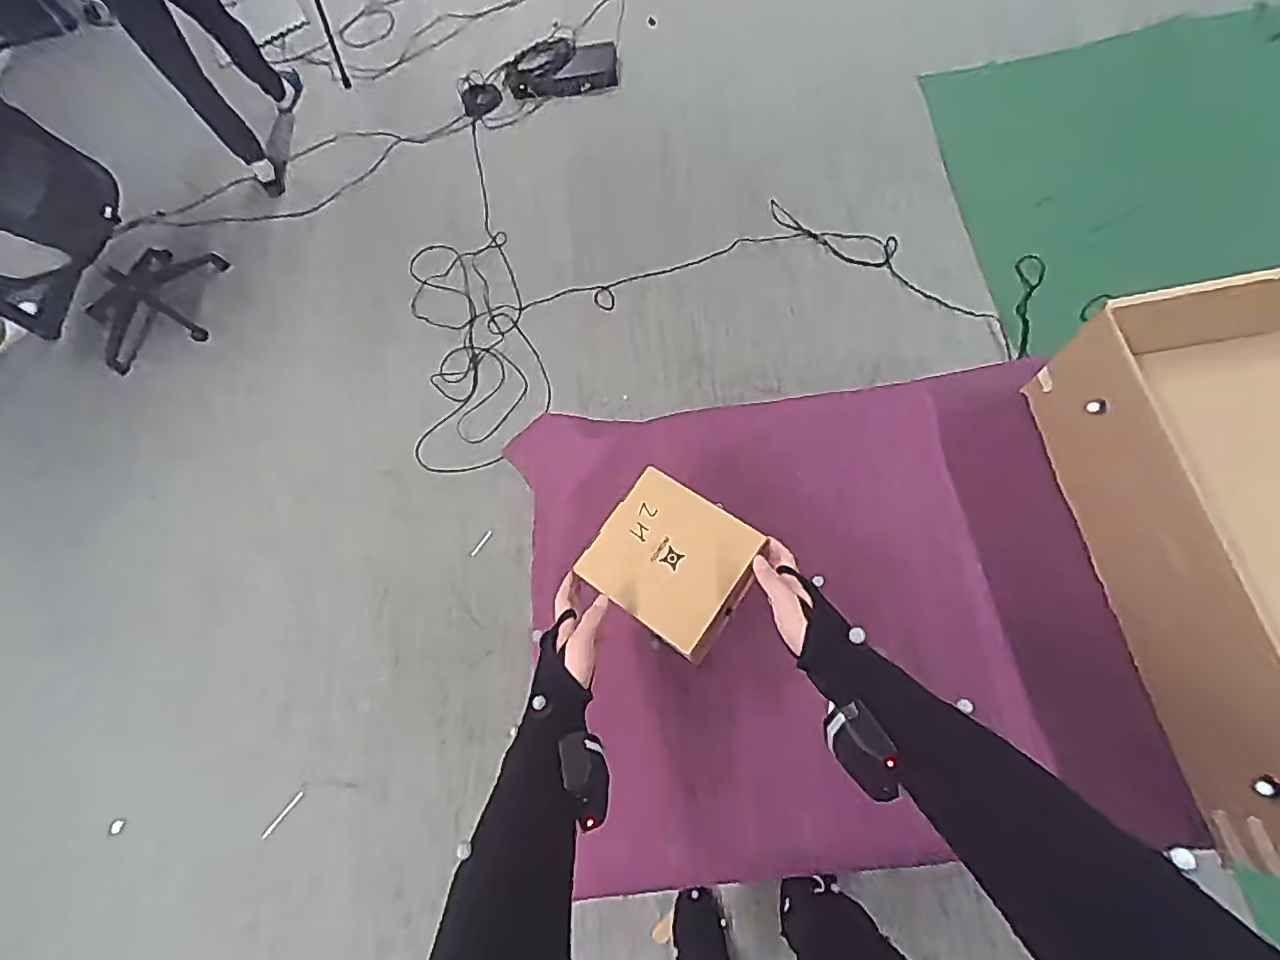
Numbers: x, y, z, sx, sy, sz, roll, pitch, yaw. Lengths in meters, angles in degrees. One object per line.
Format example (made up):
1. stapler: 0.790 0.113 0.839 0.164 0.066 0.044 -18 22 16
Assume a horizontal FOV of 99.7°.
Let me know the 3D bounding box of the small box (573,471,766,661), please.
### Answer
1. small box: 0.046 0.121 0.716 0.179 0.176 0.168 33 76 20
